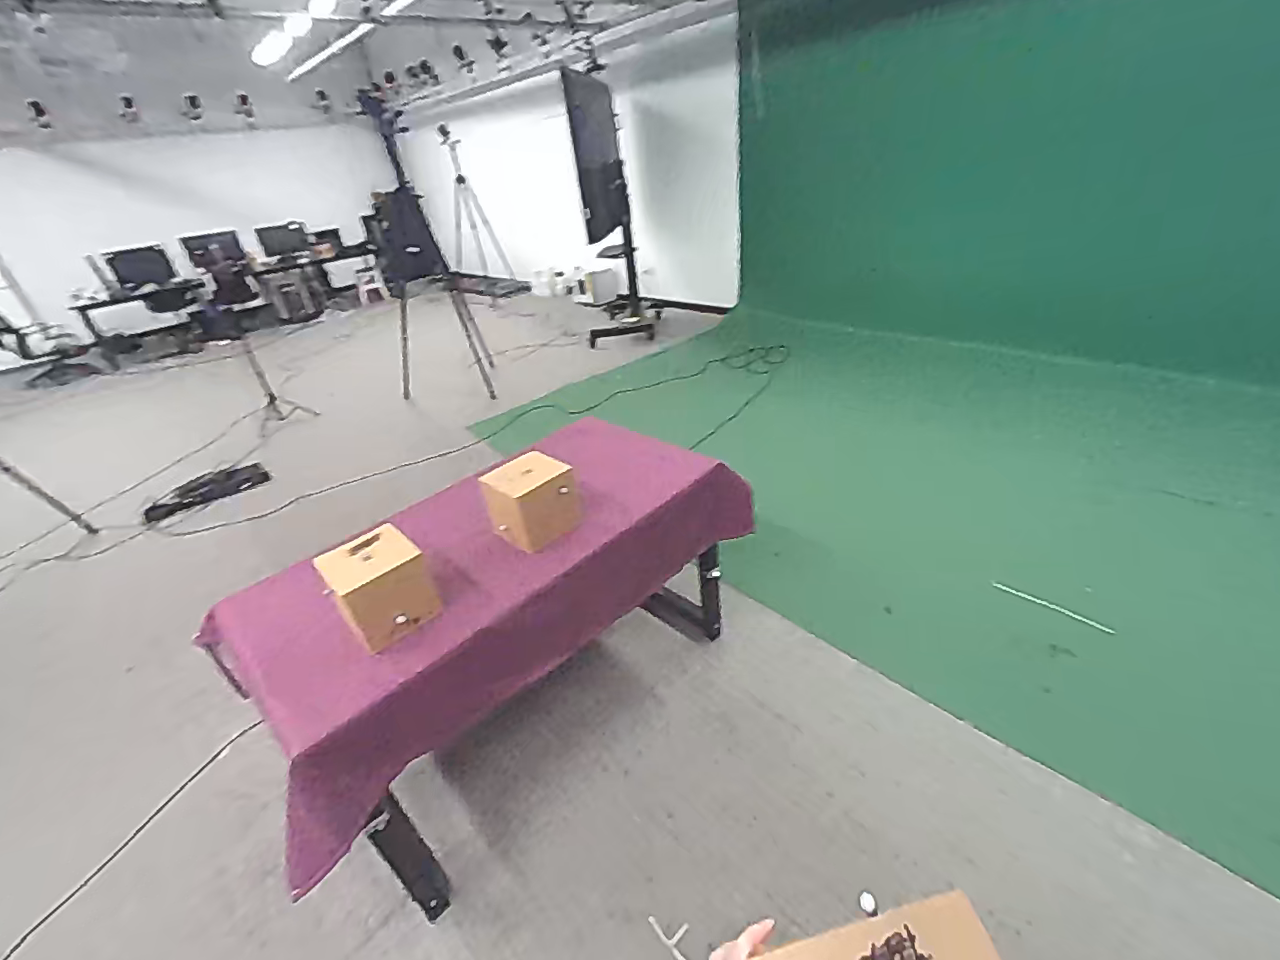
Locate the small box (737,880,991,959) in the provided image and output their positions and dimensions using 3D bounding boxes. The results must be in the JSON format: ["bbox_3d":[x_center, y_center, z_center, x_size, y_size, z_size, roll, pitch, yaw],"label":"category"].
[{"bbox_3d":[0.183,0.422,0.397,0.168,0.176,0.179,-18,50,-1],"label":"small box"}]

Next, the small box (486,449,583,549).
[{"bbox_3d":[-0.262,0.047,1.385,0.168,0.176,0.179,22,42,40],"label":"small box"}]

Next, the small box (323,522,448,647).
[{"bbox_3d":[-0.543,0.224,1.164,0.168,0.176,0.179,-32,39,-33],"label":"small box"}]
